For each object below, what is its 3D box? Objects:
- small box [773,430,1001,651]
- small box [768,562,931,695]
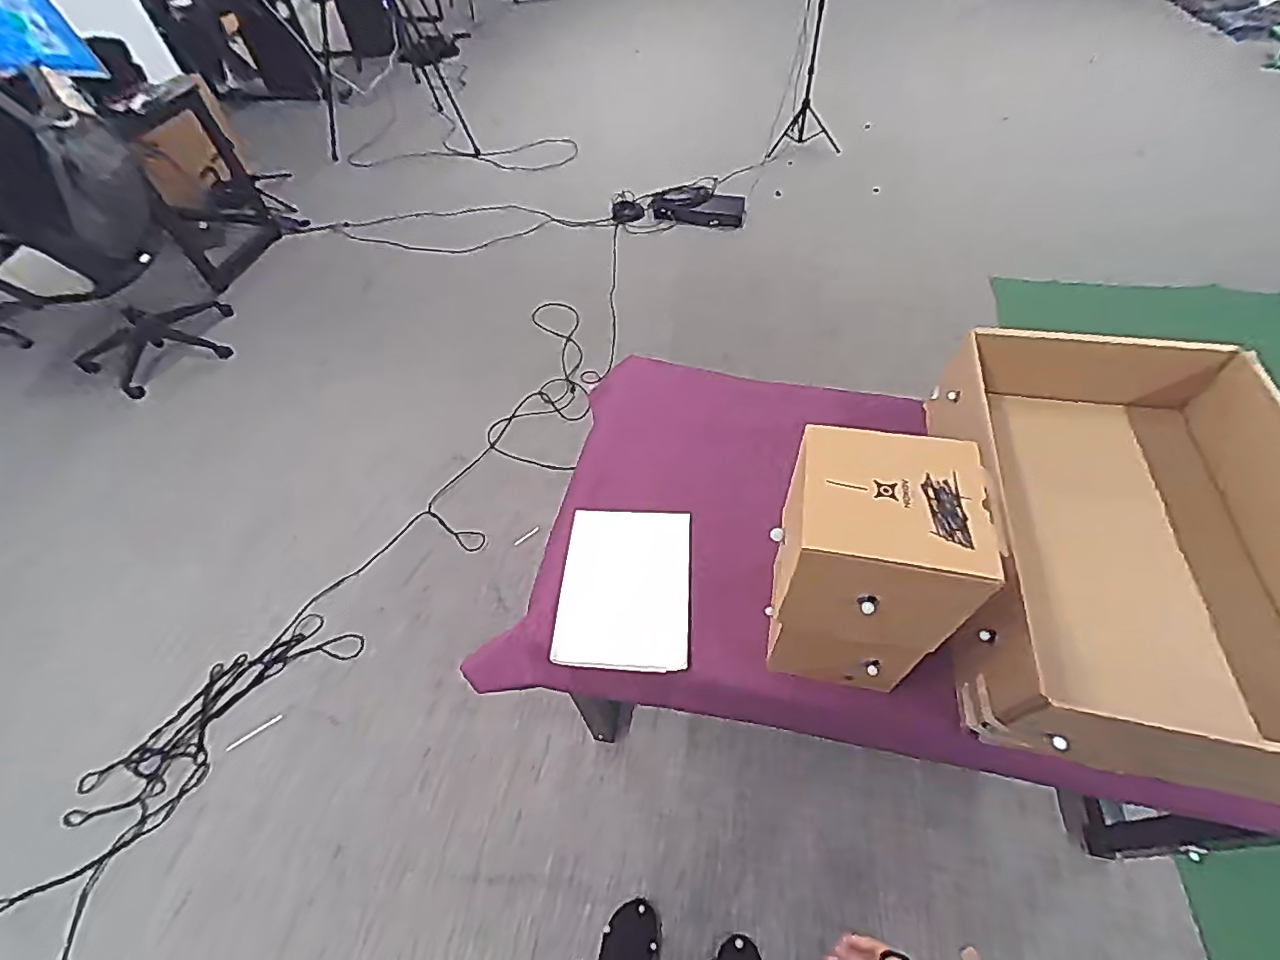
[{"bbox_3d":[0.253,0.071,0.595,0.179,0.176,0.168,8,51,11],"label":"small box"},{"bbox_3d":[0.270,0.167,0.727,0.168,0.176,0.179,9,51,10],"label":"small box"}]
